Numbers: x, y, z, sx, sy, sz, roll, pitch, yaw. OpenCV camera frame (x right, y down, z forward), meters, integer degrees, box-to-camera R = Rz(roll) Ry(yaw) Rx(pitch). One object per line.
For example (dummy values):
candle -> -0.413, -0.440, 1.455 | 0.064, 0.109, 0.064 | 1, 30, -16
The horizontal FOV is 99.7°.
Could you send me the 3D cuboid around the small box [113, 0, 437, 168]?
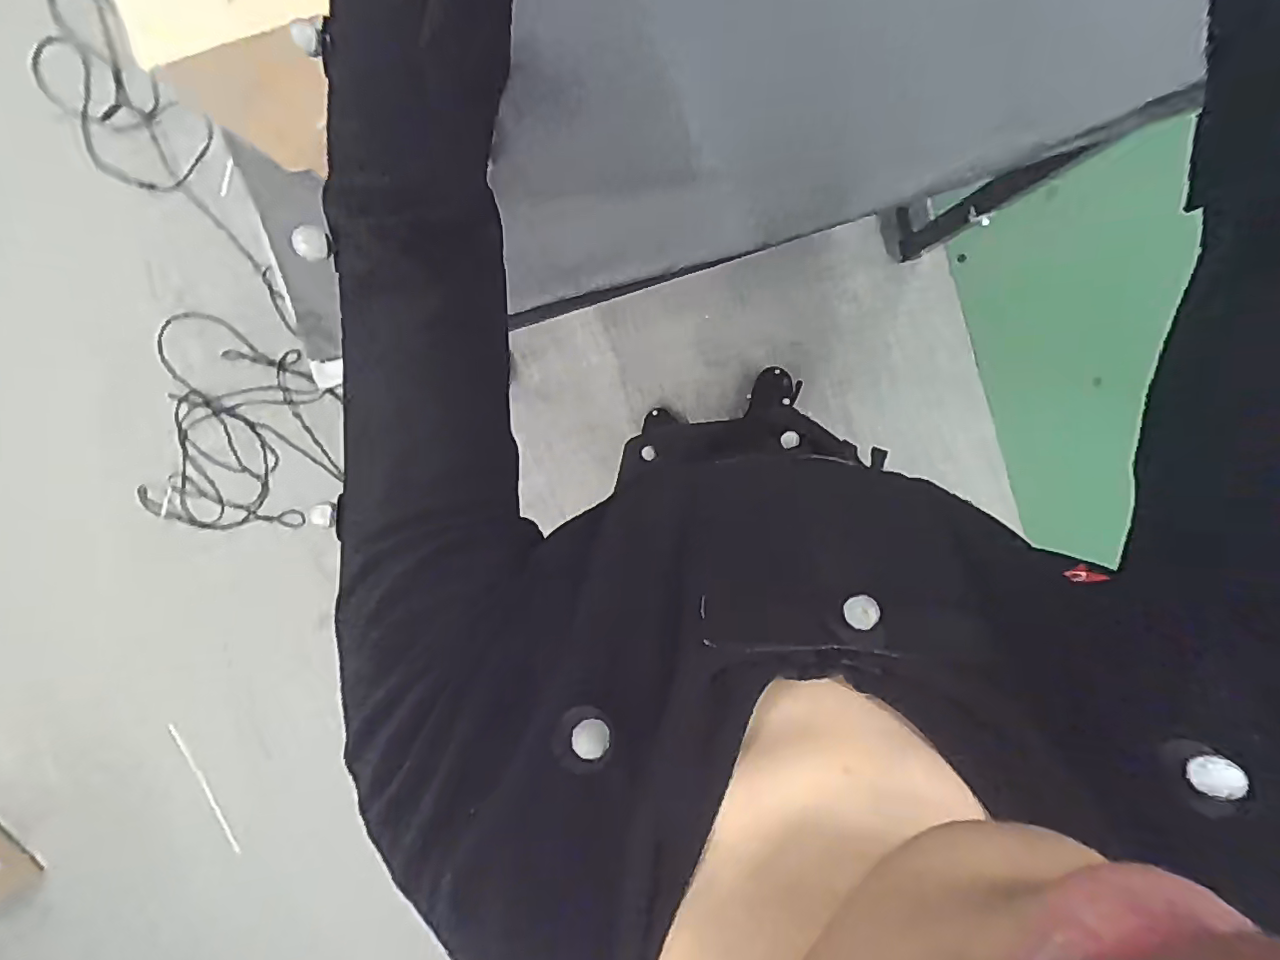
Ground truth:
small box -> -0.296, -0.401, 0.448 | 0.168, 0.176, 0.179 | -15, 97, 3
